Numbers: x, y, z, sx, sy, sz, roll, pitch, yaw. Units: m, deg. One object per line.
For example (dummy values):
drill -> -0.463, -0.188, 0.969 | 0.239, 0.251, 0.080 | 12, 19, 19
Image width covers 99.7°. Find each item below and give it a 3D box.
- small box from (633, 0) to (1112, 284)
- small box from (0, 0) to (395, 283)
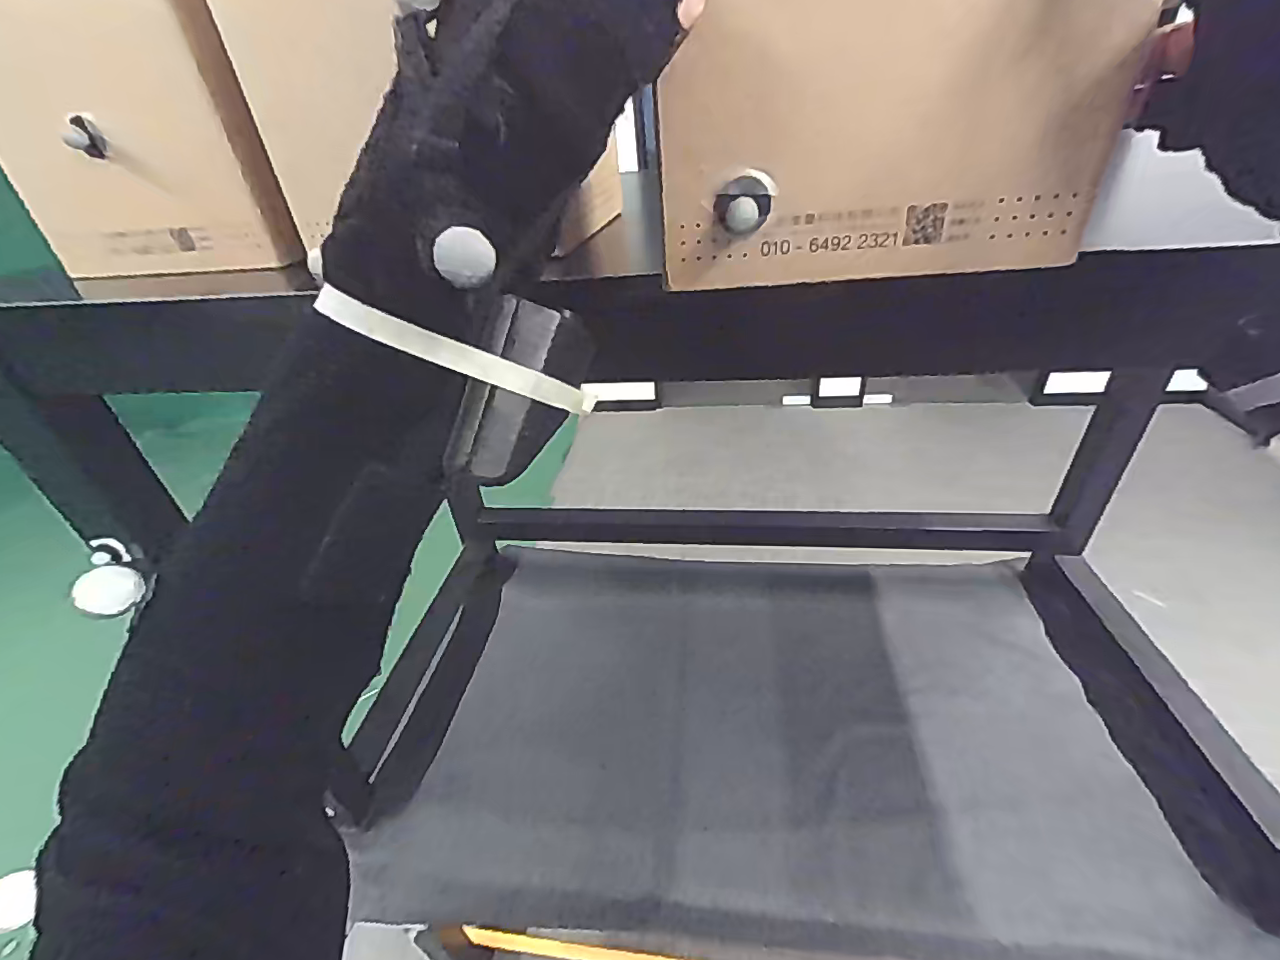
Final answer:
small box -> 0.089, -0.196, 0.258 | 0.168, 0.176, 0.179 | -1, 32, 7
small box -> -0.312, -0.247, 0.397 | 0.168, 0.176, 0.179 | 1, 33, 8
